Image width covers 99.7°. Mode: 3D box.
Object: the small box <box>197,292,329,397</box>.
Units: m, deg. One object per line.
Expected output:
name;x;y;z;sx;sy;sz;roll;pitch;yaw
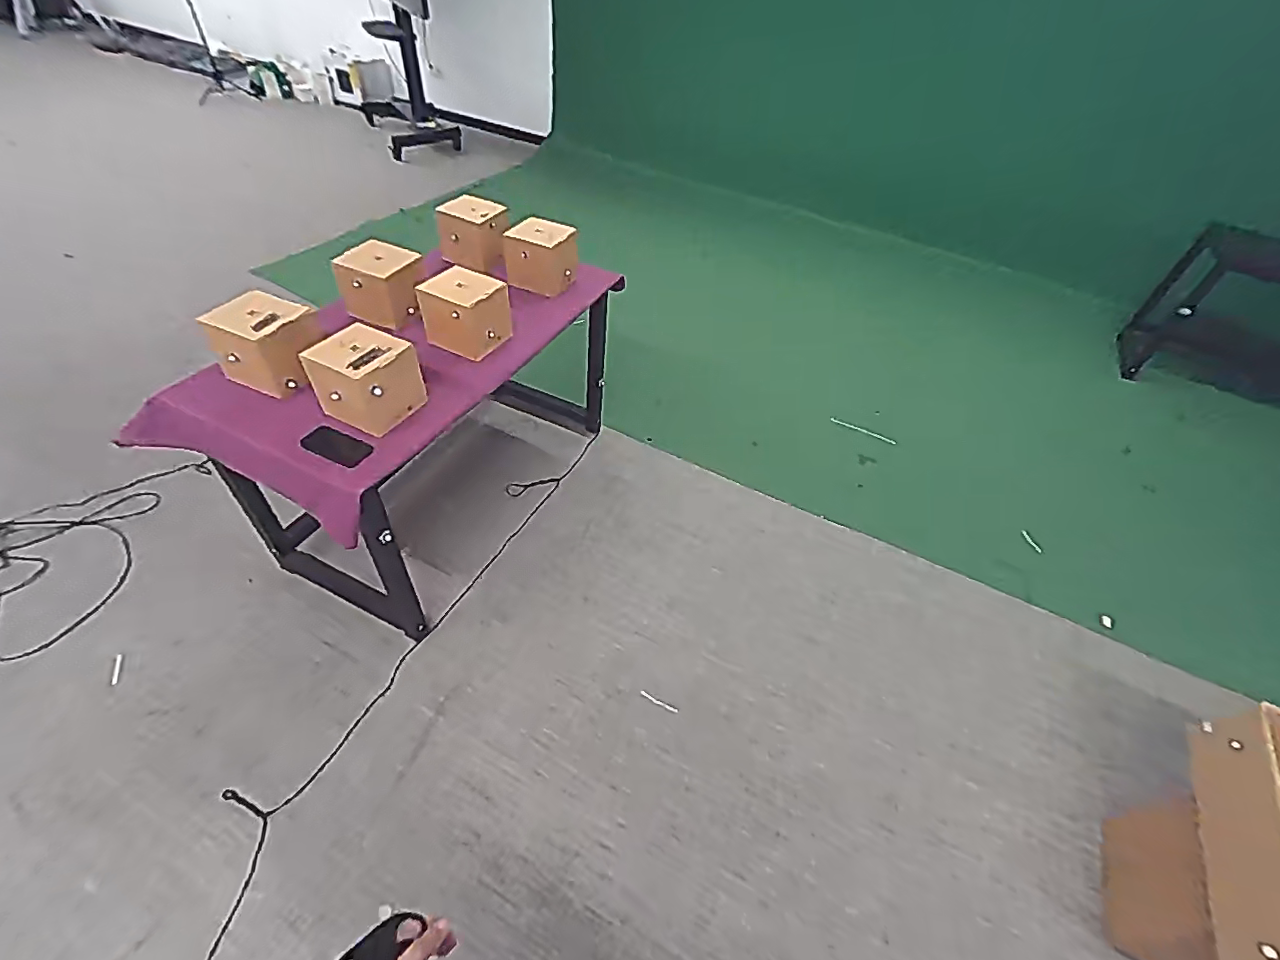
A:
small box;-0.903;-0.326;1.318;0.179;0.176;0.168;20;47;11

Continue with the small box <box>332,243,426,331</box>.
small box;-0.737;-0.554;1.559;0.179;0.176;0.168;21;48;11

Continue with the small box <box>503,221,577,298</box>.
small box;-0.321;-0.719;1.766;0.179;0.176;0.168;21;49;14

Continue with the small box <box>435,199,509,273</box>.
small box;-0.563;-0.828;1.840;0.179;0.176;0.168;21;49;12

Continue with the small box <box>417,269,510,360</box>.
small box;-0.482;-0.457;1.501;0.179;0.176;0.168;23;48;15
